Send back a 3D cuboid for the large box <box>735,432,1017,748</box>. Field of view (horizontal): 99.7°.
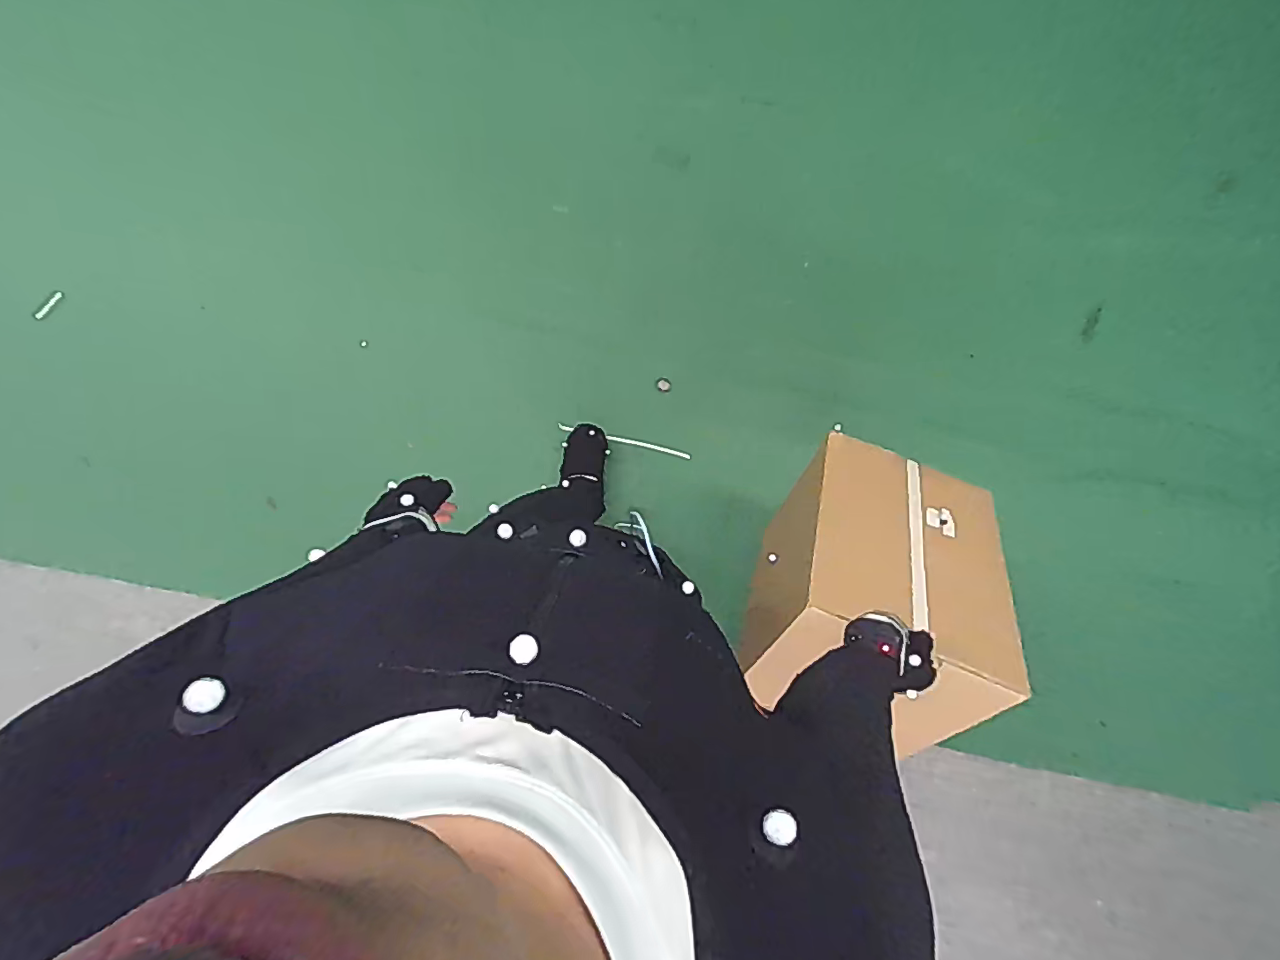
[{"bbox_3d":[0.396,0.191,0.981,0.320,0.320,0.408,23,45,3],"label":"large box"}]
